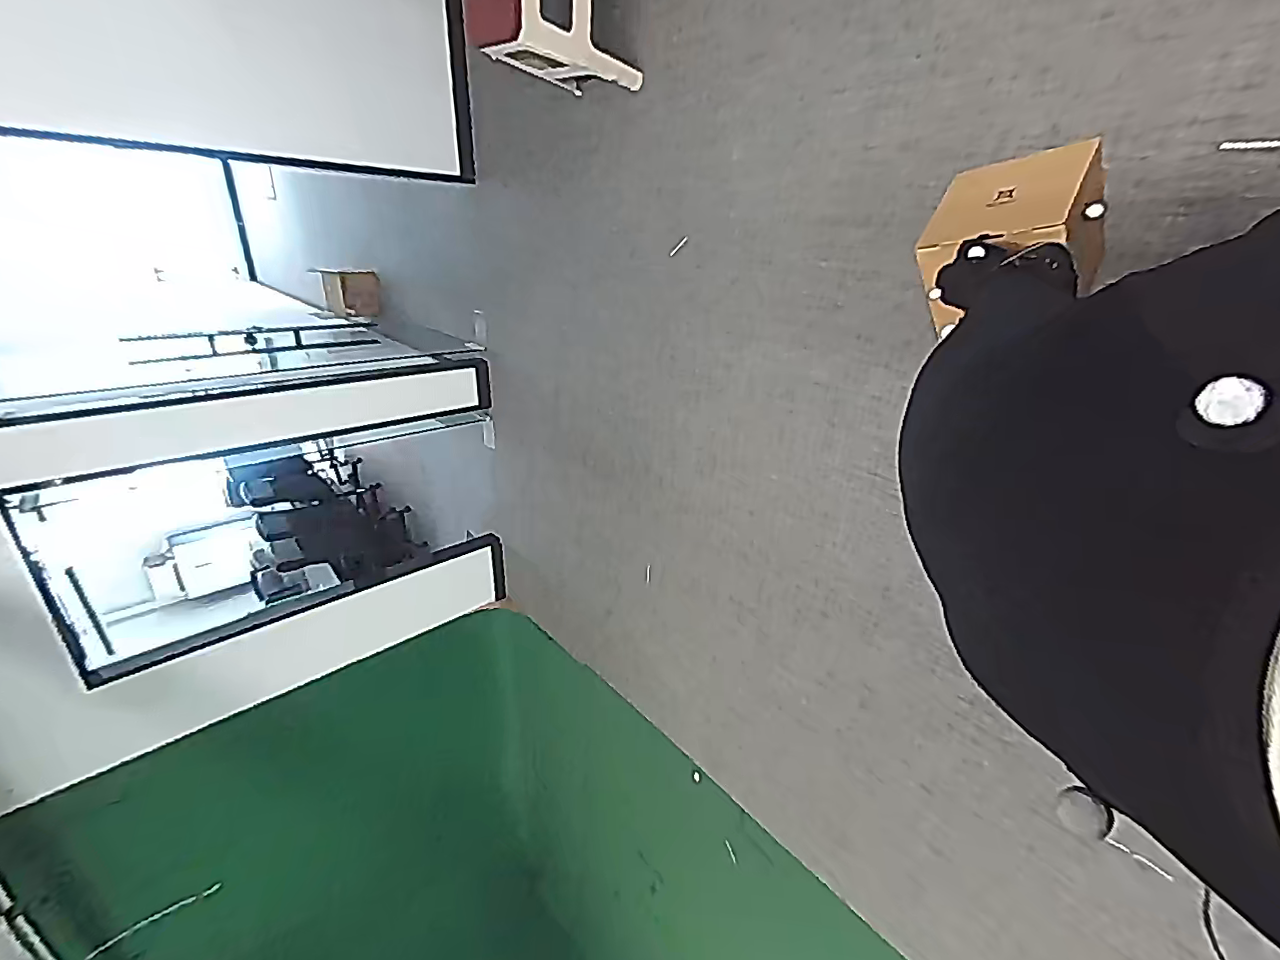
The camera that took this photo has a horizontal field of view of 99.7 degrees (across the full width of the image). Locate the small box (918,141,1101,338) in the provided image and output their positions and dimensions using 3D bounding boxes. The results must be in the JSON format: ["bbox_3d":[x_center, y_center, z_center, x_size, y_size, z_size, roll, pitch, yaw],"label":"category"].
[{"bbox_3d":[0.518,-0.321,0.754,0.168,0.179,0.176,11,150,47],"label":"small box"}]
